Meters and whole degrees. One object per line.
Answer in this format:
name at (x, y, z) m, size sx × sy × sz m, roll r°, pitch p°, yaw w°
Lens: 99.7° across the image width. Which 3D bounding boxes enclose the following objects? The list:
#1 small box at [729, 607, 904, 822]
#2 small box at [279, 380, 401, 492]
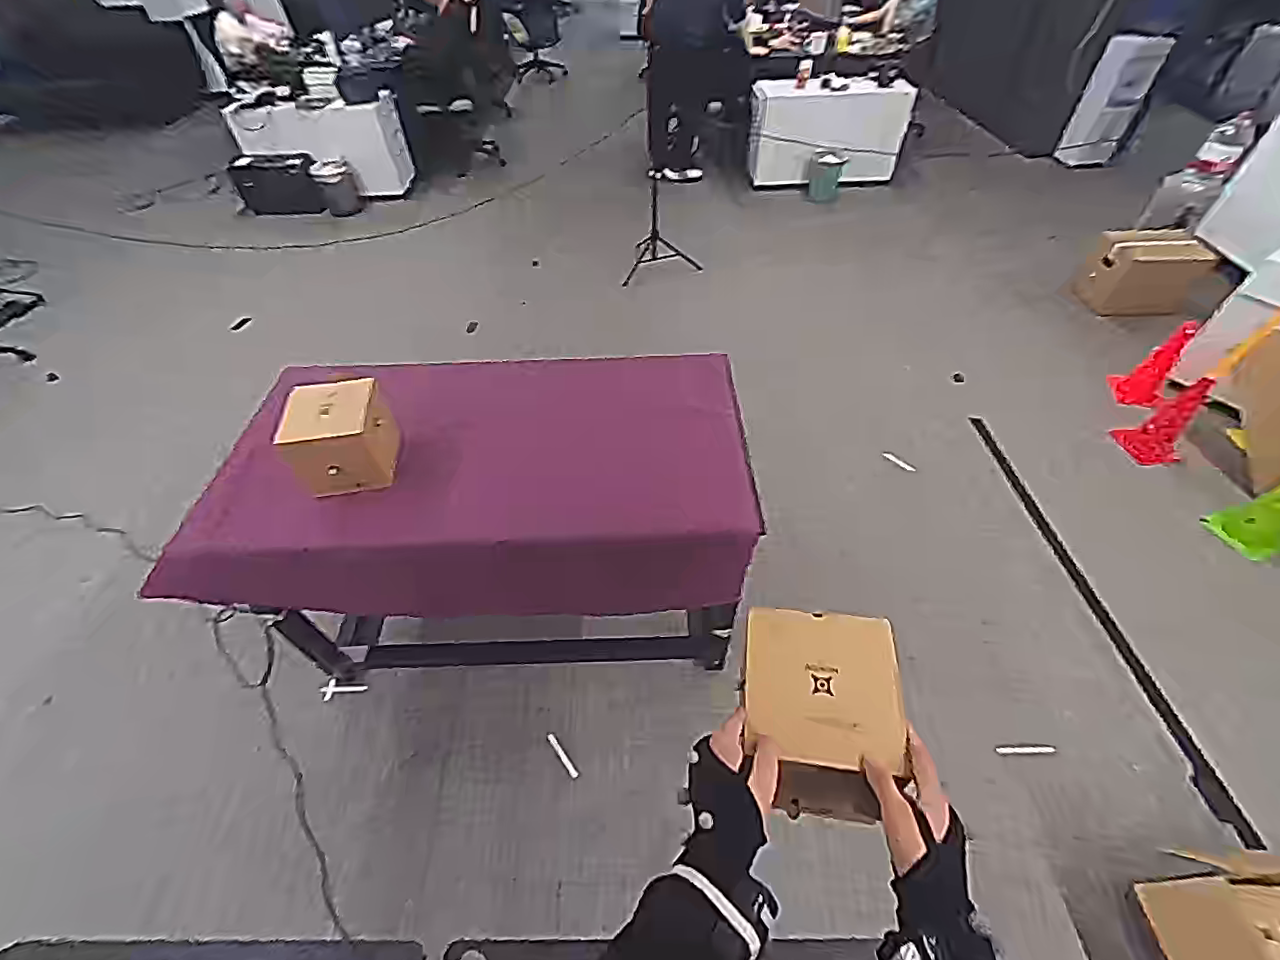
small box at (0.195, 0.279, 0.651) m, size 0.168 × 0.176 × 0.179 m, roll 3°, pitch 44°, yaw 10°
small box at (-0.633, -0.088, 1.167) m, size 0.168 × 0.176 × 0.179 m, roll -8°, pitch 49°, yaw -6°
